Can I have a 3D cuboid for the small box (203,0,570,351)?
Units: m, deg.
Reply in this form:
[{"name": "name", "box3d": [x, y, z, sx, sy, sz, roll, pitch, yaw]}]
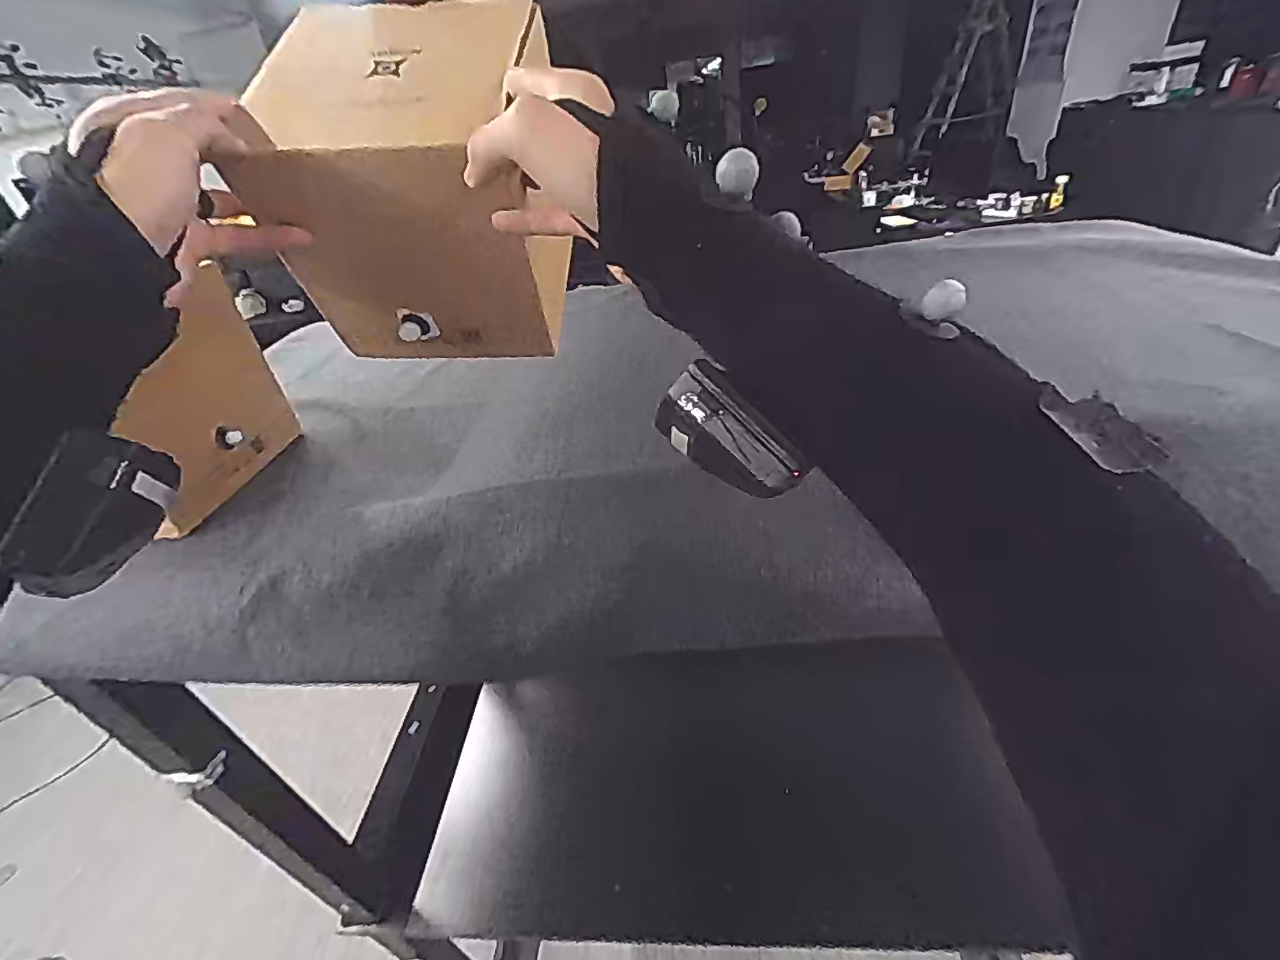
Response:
[{"name": "small box", "box3d": [-0.150, -0.217, 0.398, 0.168, 0.176, 0.179, -1, 59, 4]}]
